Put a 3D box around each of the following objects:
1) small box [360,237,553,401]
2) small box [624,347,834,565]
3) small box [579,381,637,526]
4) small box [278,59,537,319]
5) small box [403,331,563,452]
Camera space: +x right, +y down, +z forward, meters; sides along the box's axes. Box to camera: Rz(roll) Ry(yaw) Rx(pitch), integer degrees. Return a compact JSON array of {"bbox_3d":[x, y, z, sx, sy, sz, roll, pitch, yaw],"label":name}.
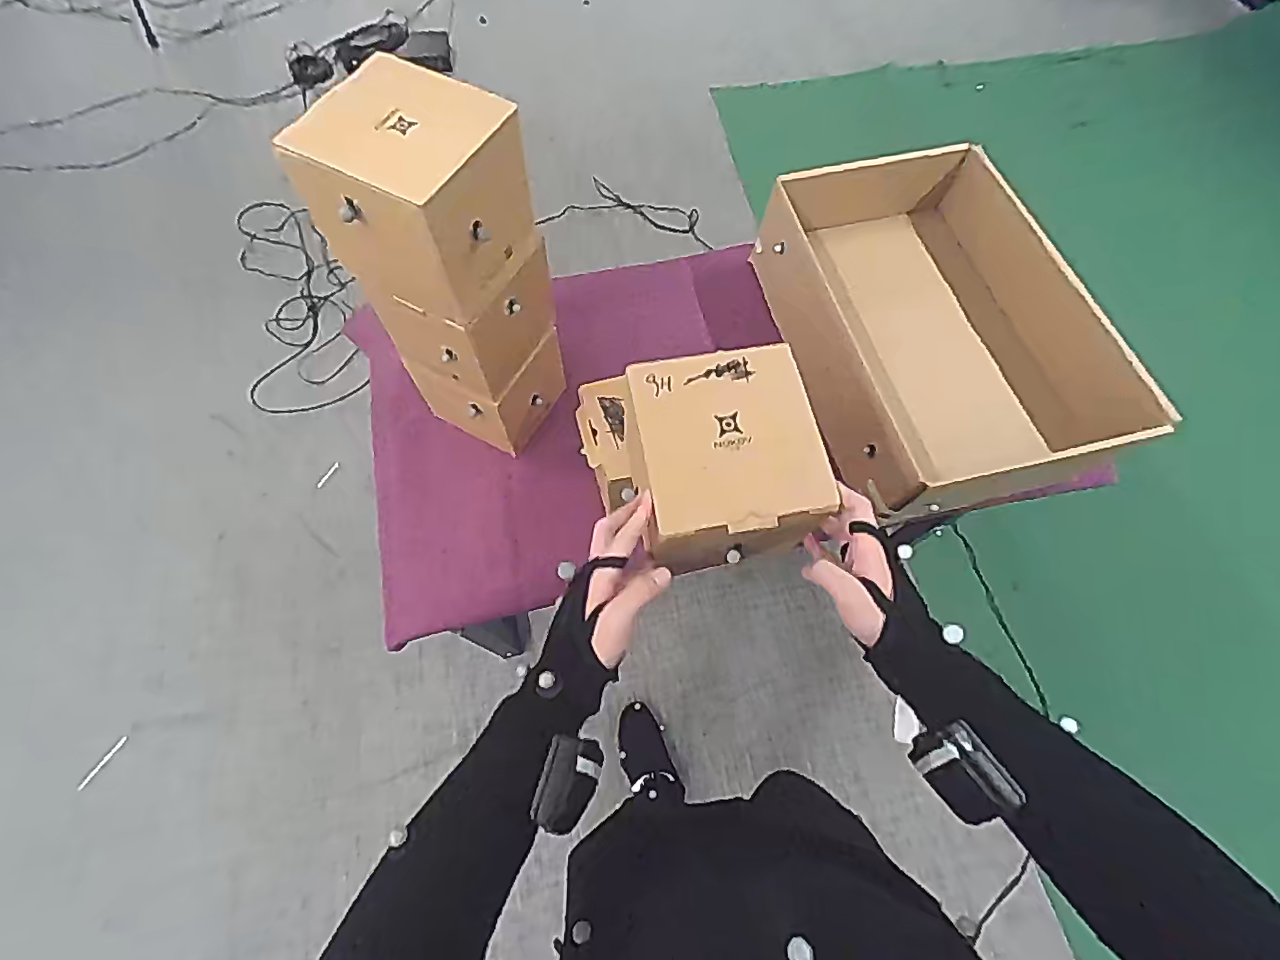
[{"bbox_3d":[-0.234,-0.241,0.747,0.168,0.176,0.179,28,67,9],"label":"small box"},{"bbox_3d":[0.077,-0.013,0.573,0.168,0.176,0.179,-8,71,-6],"label":"small box"},{"bbox_3d":[0.014,-0.044,0.842,0.179,0.176,0.168,-14,66,-8],"label":"small box"},{"bbox_3d":[-0.233,-0.308,0.599,0.179,0.176,0.168,26,68,9],"label":"small box"},{"bbox_3d":[-0.243,-0.168,0.892,0.179,0.176,0.168,27,67,10],"label":"small box"}]
